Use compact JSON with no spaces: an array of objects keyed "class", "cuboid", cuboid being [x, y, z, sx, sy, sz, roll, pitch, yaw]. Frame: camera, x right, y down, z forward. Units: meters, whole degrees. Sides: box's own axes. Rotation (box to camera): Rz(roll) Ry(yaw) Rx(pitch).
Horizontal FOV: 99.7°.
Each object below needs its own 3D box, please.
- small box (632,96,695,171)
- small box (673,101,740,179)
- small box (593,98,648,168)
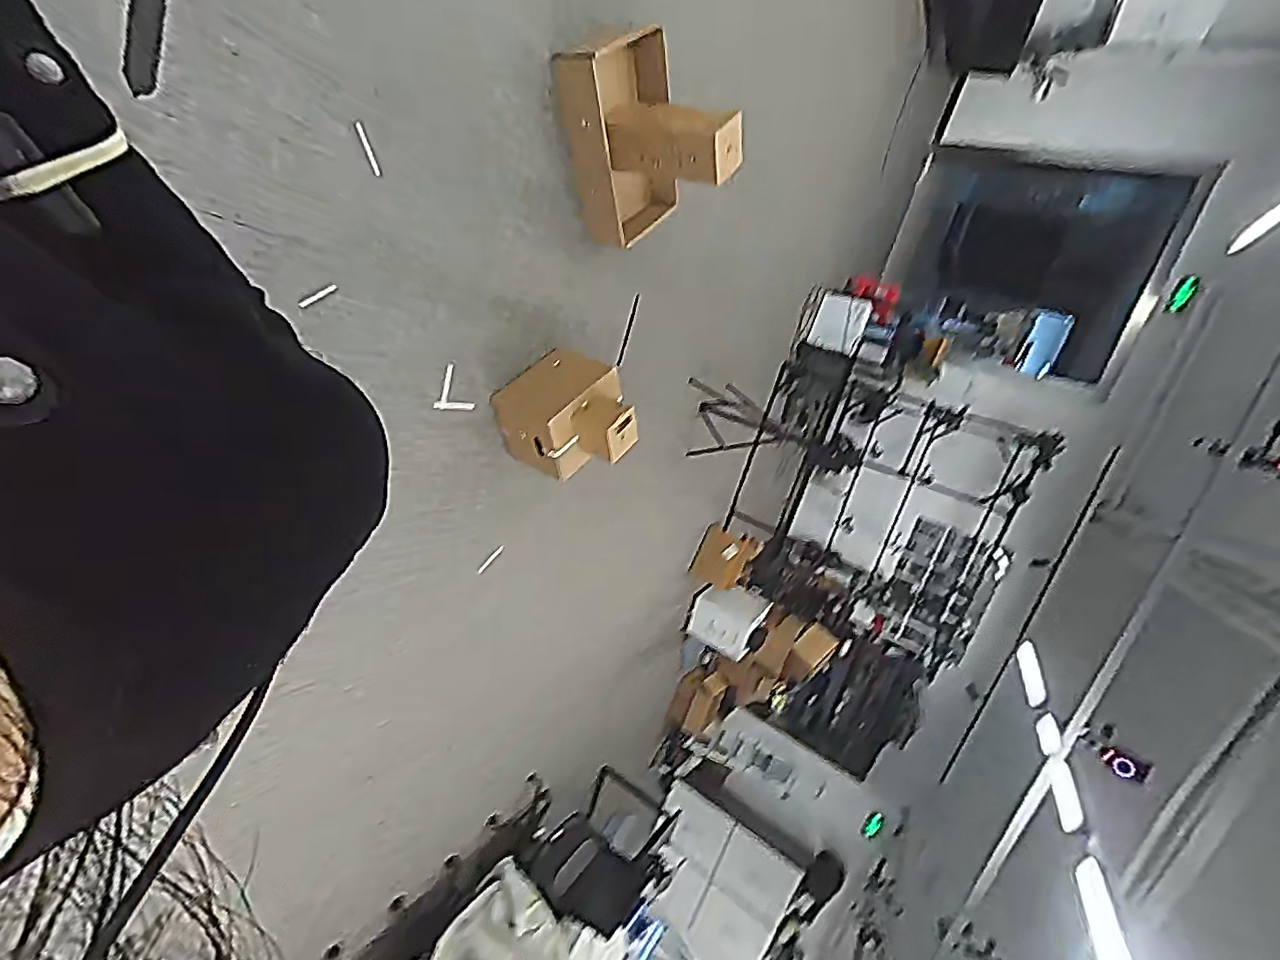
[{"class":"small box","cuboid":[0.086,-1.212,1.889,0.179,0.176,0.168,-54,152,-24]},{"class":"small box","cuboid":[0.221,-1.146,1.818,0.179,0.176,0.168,-52,152,-23]},{"class":"small box","cuboid":[-0.046,-1.267,1.966,0.179,0.176,0.168,-50,149,-27]}]
